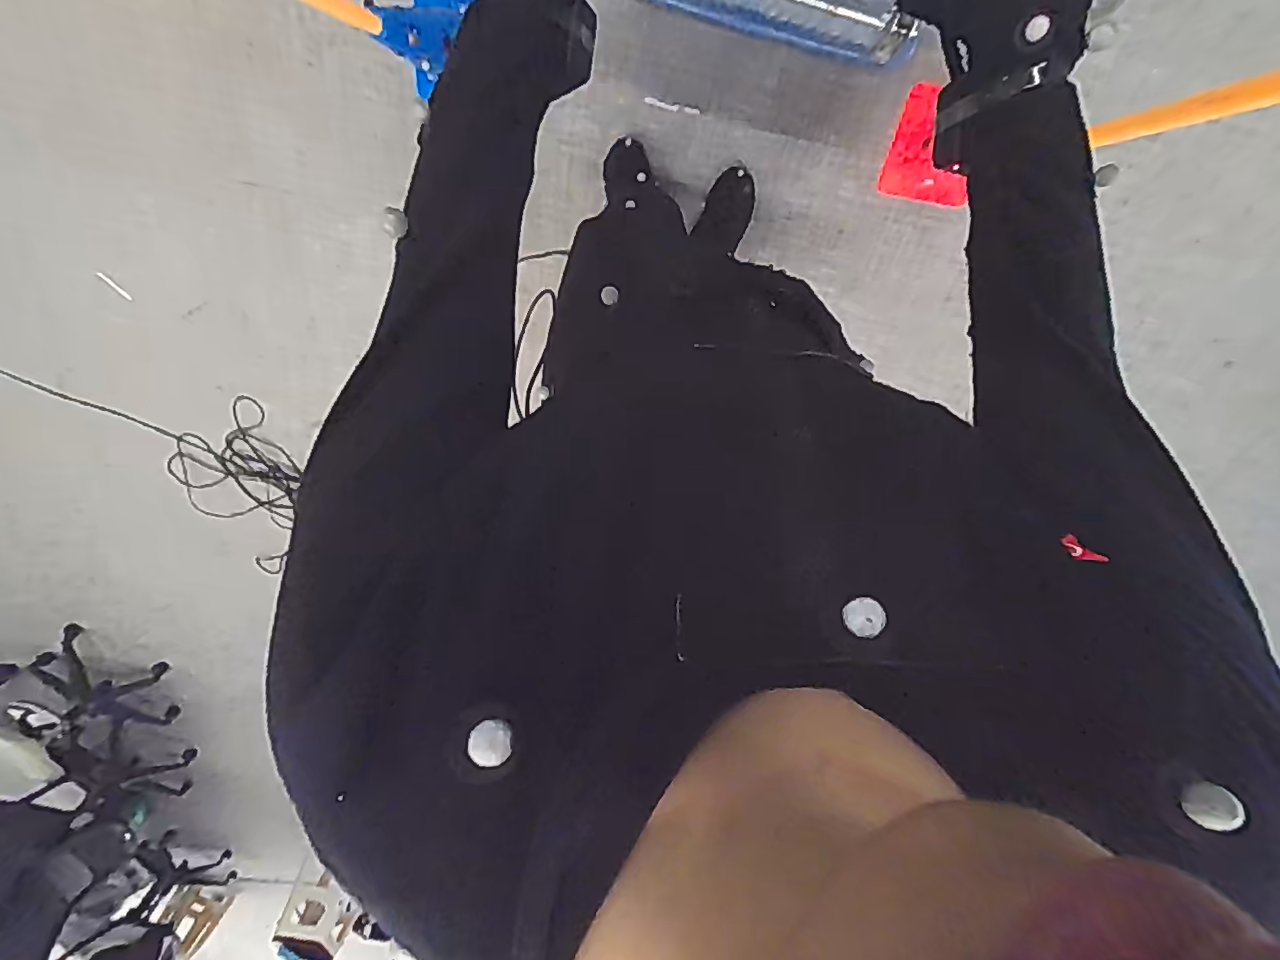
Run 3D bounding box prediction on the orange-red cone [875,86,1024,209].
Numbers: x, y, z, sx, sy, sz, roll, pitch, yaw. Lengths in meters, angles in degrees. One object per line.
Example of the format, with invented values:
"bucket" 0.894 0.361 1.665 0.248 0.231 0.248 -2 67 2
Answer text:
"orange-red cone" 0.601 -0.602 0.992 0.199 0.360 0.198 13 123 0
